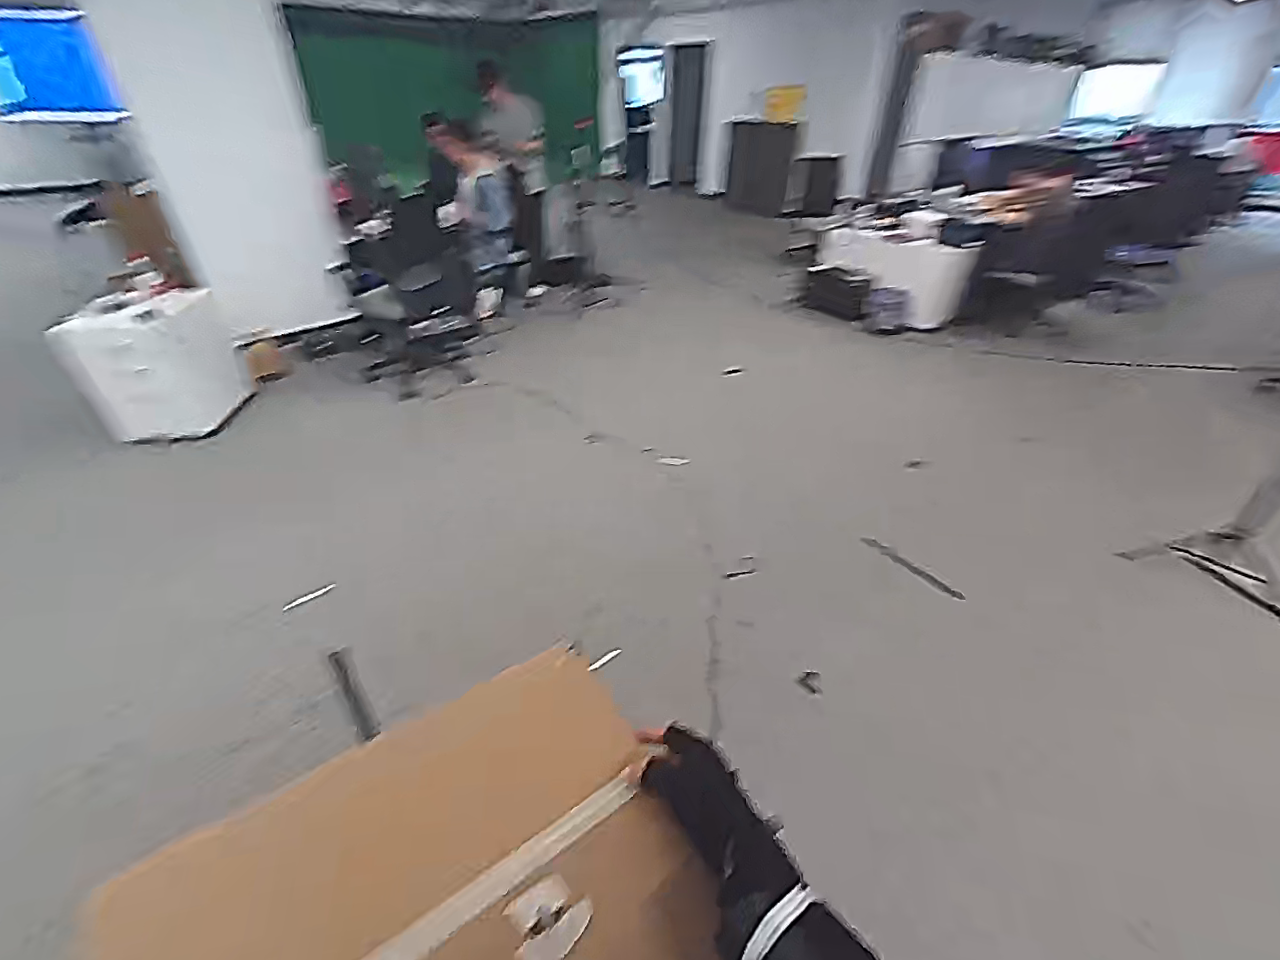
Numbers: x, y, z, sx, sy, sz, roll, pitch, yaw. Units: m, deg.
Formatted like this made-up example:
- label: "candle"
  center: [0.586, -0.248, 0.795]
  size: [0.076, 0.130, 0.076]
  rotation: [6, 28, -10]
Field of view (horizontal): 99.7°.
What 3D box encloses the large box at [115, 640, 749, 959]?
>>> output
- label: "large box"
  center: [-0.174, 0.444, 0.531]
  size: [0.408, 0.320, 0.320]
  rotation: [-21, 54, -31]
